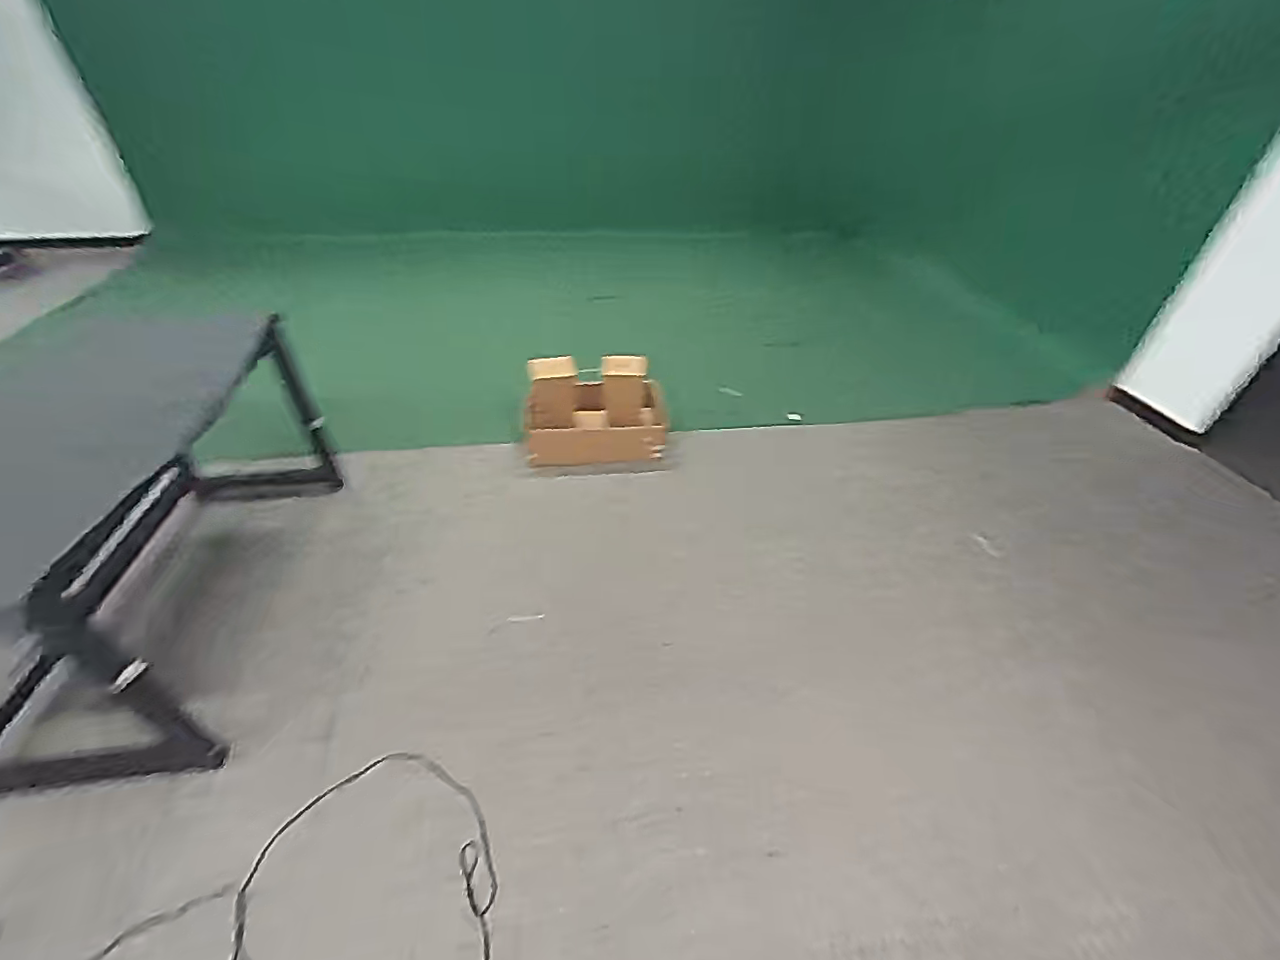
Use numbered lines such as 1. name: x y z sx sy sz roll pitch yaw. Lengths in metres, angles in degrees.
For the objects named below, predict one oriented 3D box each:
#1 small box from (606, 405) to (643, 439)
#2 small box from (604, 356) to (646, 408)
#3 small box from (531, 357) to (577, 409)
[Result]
1. small box: -0.071 -0.311 2.507 0.168 0.176 0.179 2 42 0
2. small box: -0.064 -0.432 2.395 0.179 0.176 0.168 2 41 0
3. small box: -0.375 -0.422 2.362 0.179 0.176 0.168 -7 43 -14
